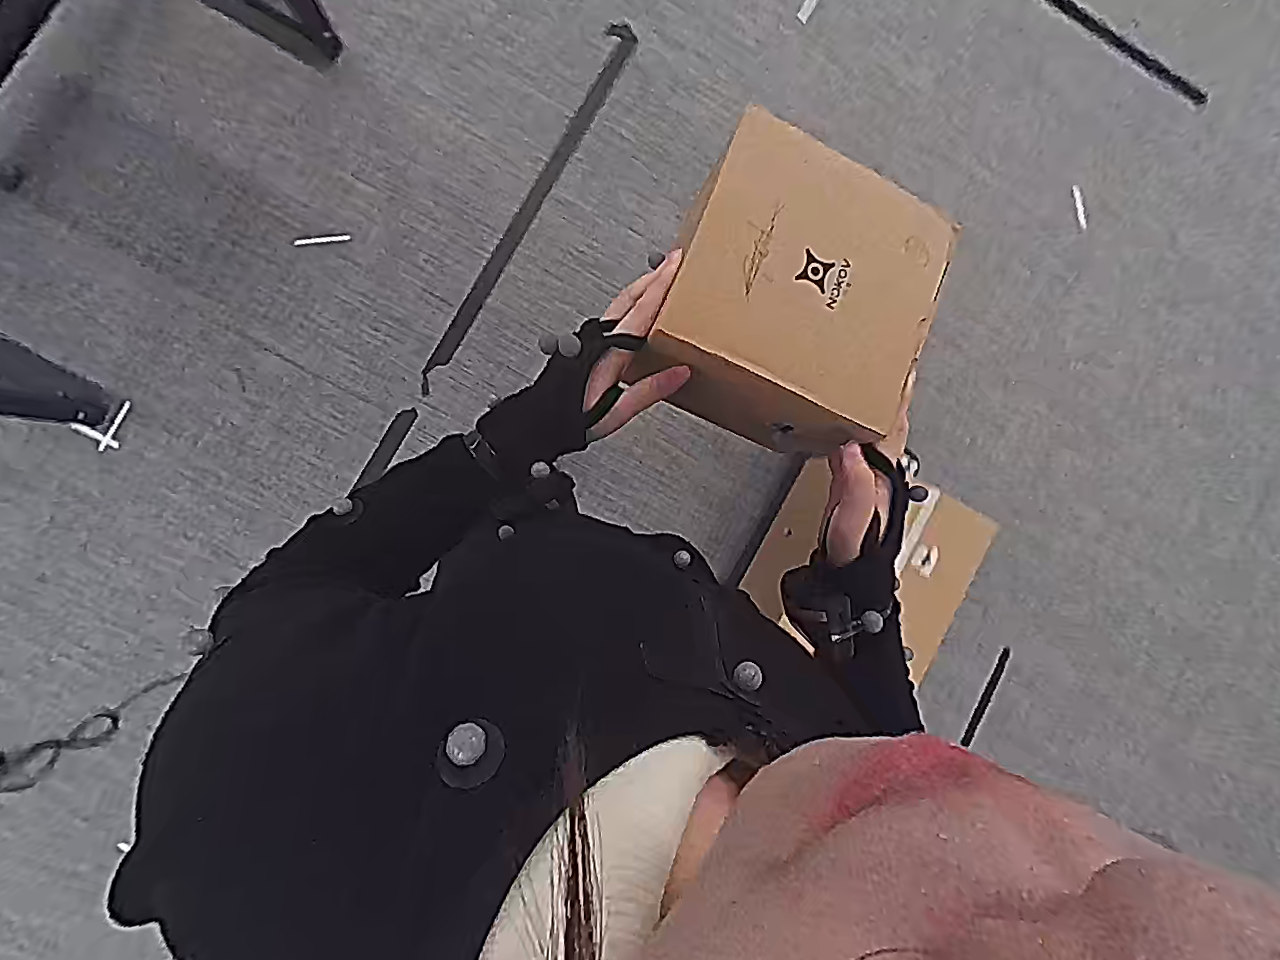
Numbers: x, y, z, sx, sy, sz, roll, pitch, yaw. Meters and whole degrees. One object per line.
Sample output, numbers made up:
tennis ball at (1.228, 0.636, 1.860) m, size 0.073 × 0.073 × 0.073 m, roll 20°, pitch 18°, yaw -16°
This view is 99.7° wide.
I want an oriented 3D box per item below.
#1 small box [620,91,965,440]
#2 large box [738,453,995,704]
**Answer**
small box at (0.100, -0.139, 0.426) m, size 0.179 × 0.176 × 0.168 m, roll 22°, pitch 84°, yaw -9°
large box at (0.470, 0.198, 1.196) m, size 0.320 × 0.320 × 0.408 m, roll 29°, pitch 85°, yaw -5°
